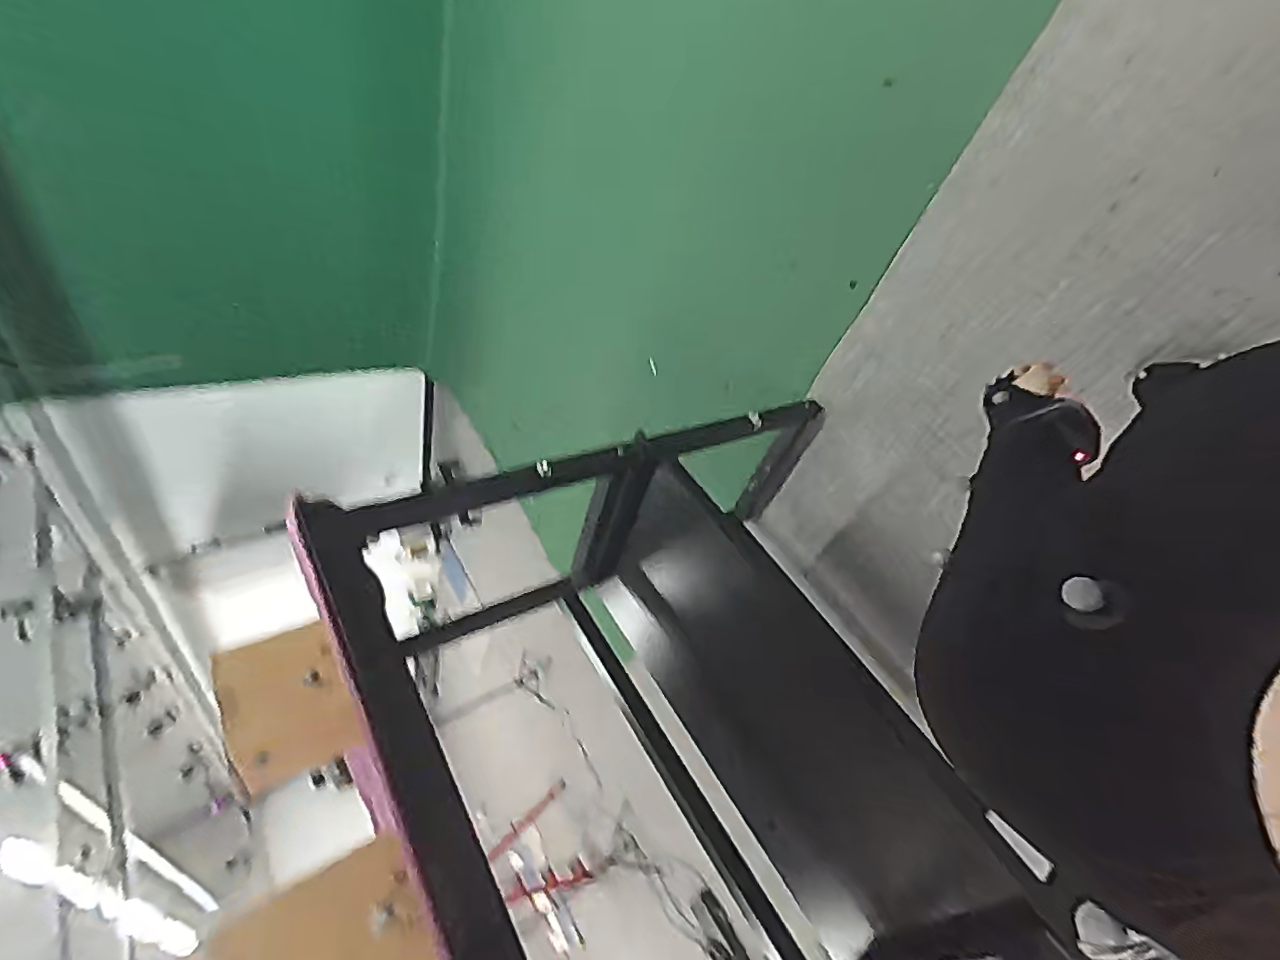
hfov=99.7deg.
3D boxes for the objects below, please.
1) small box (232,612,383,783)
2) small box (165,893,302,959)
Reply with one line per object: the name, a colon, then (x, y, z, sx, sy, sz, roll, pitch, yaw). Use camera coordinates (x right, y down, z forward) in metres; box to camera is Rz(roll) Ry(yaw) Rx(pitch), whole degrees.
small box: (-0.524, 0.344, 0.870, 0.168, 0.176, 0.179, 52, 138, 27)
small box: (-0.468, 0.618, 0.619, 0.168, 0.176, 0.179, 52, 139, 28)
